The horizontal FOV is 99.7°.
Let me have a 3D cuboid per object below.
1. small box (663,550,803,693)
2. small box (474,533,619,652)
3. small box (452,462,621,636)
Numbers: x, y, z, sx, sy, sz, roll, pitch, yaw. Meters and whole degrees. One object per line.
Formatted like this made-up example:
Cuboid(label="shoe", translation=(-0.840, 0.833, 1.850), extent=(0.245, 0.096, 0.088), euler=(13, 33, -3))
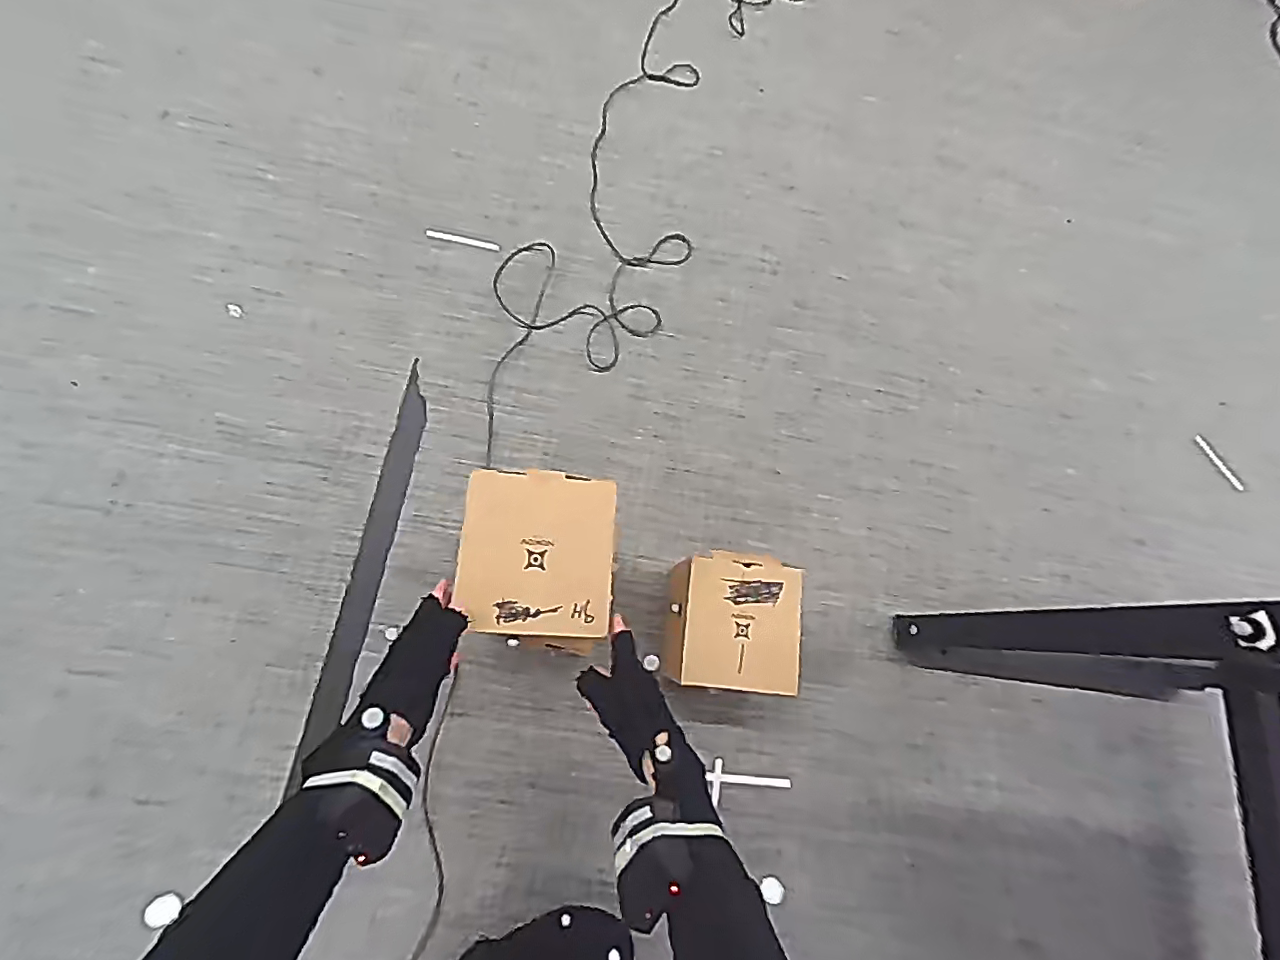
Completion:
Cuboid(label="small box", translation=(0.134, 0.215, 0.825), extent=(0.168, 0.176, 0.179), euler=(9, 74, -5))
Cuboid(label="small box", translation=(-0.137, 0.150, 0.809), extent=(0.168, 0.176, 0.179), euler=(15, 71, -5))
Cuboid(label="small box", translation=(-0.119, 0.093, 0.656), extent=(0.168, 0.176, 0.179), euler=(5, 73, -7))
